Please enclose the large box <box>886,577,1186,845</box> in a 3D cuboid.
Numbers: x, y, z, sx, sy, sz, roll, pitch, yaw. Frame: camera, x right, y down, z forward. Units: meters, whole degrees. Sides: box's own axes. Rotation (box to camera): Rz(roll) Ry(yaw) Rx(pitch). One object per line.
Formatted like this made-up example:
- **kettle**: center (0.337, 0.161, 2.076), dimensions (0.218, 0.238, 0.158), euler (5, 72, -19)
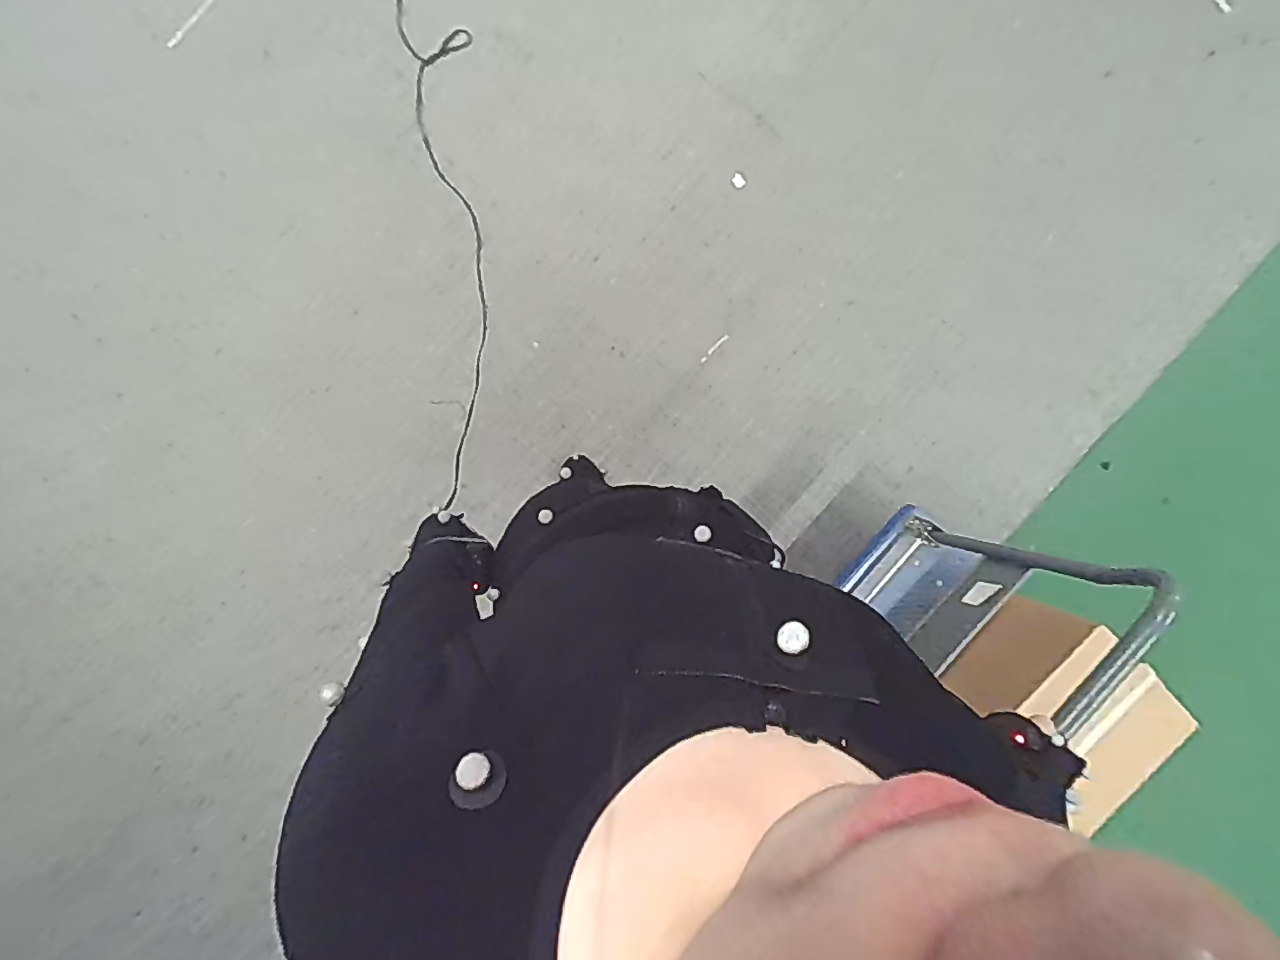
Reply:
- **large box**: center (0.873, 0.497, 1.246), dimensions (0.320, 0.320, 0.408), euler (44, 91, -4)
